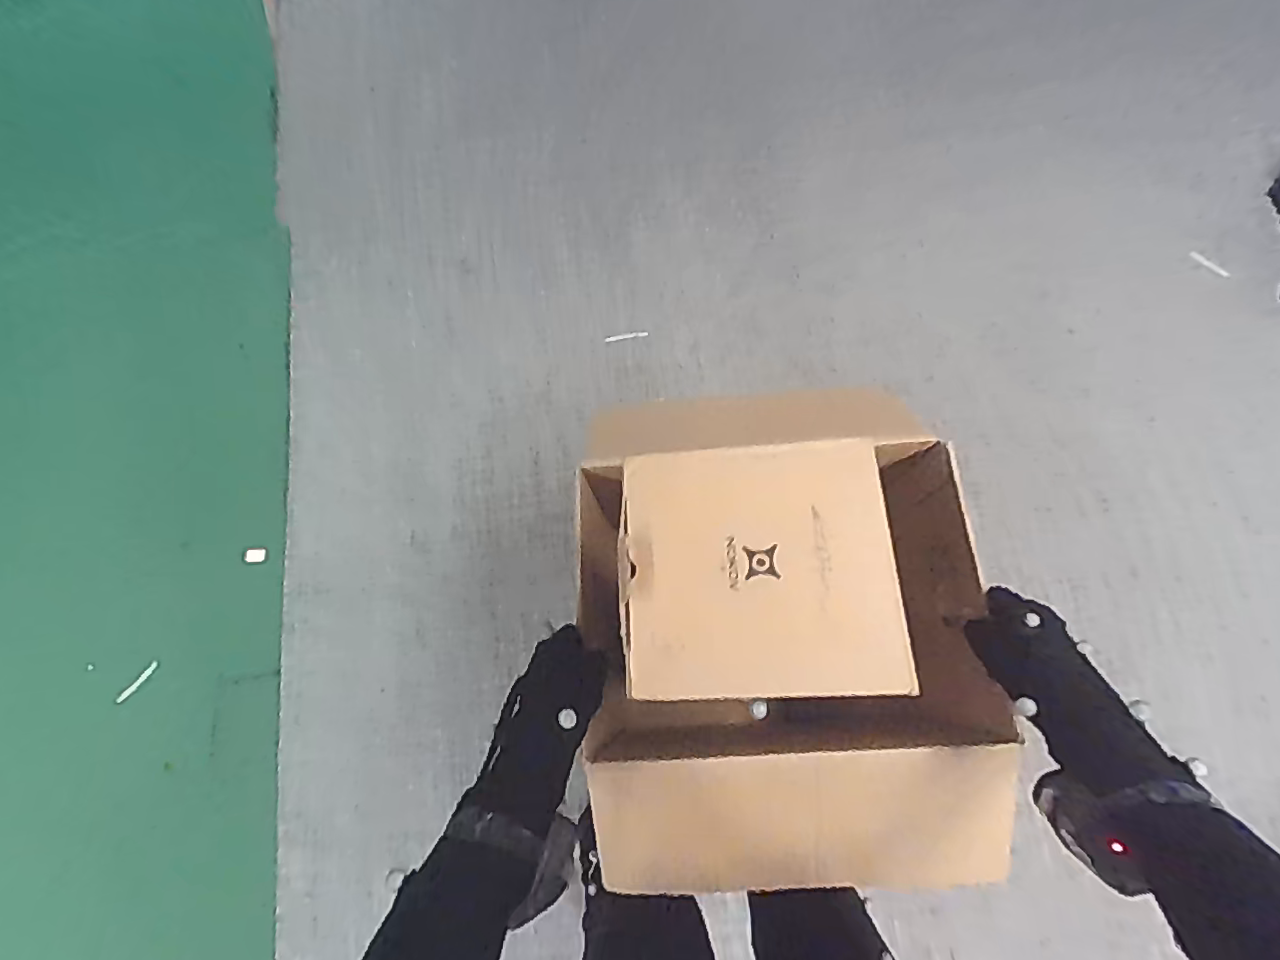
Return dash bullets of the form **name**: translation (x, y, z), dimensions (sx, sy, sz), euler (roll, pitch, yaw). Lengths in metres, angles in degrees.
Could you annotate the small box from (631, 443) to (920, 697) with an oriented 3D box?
- **small box**: translation (0.092, 0.083, 0.438), dimensions (0.179, 0.176, 0.168), euler (-5, 71, 5)
